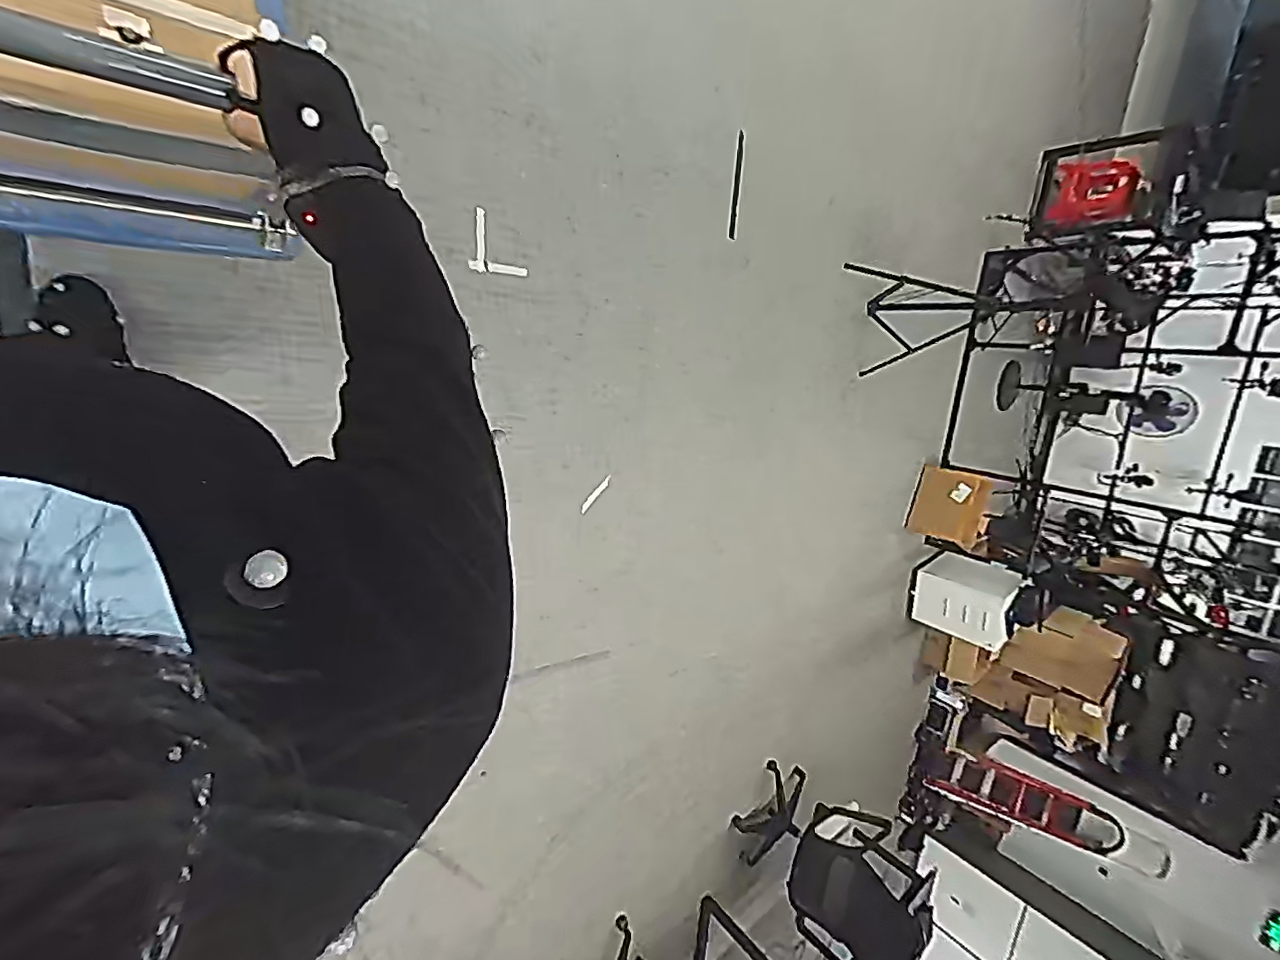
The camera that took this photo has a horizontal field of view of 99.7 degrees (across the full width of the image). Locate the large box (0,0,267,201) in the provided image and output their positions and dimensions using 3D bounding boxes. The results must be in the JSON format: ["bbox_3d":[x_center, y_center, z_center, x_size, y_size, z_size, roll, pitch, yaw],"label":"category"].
[{"bbox_3d":[-0.775,-0.600,0.718,0.408,0.320,0.320,-9,108,-41],"label":"large box"}]
